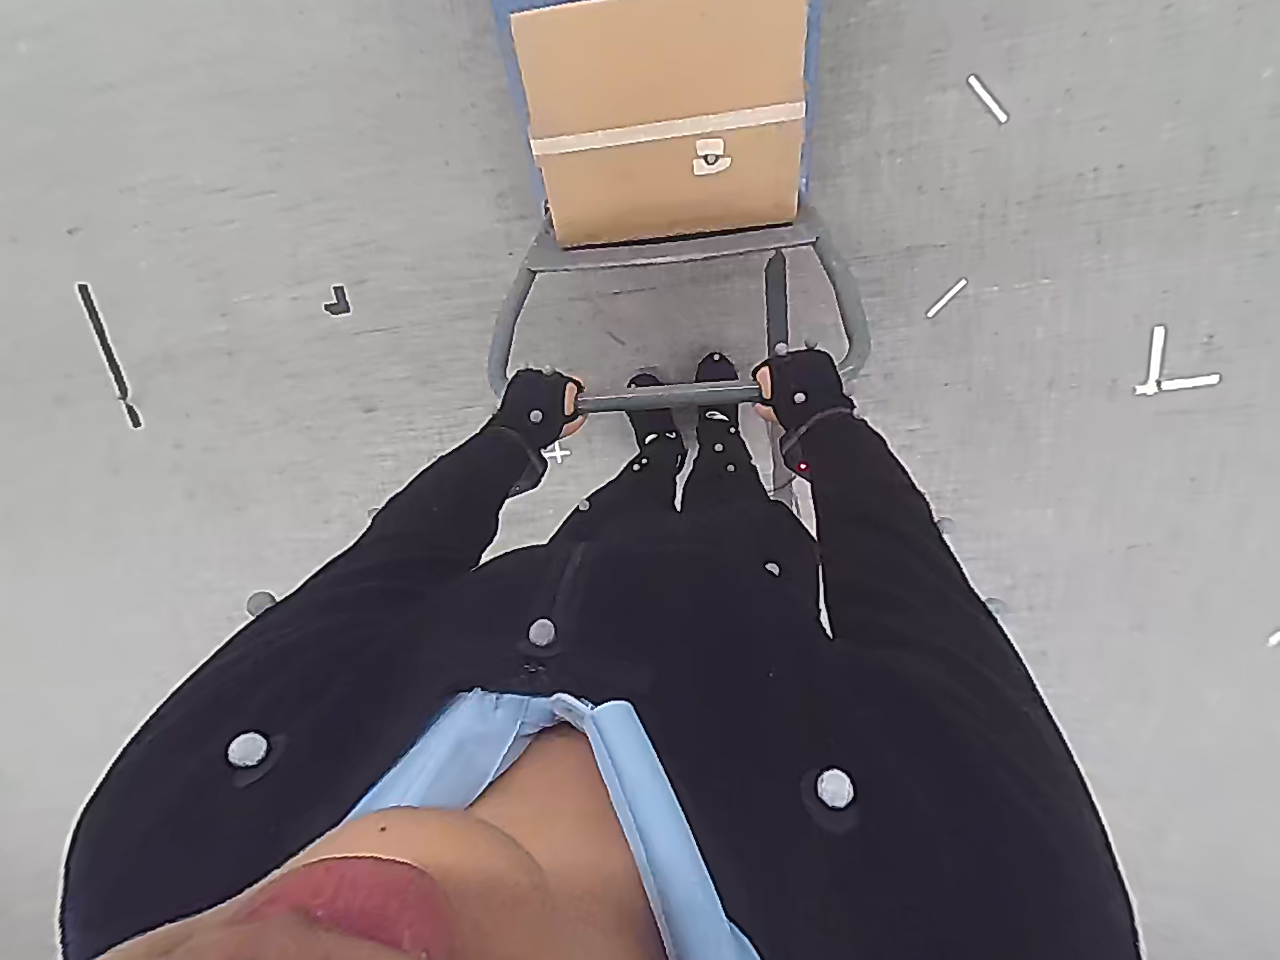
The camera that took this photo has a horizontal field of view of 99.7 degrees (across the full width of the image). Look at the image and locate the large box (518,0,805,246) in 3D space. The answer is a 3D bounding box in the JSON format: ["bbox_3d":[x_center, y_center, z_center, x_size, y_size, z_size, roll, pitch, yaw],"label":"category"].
[{"bbox_3d":[0.047,-0.637,0.942,0.408,0.320,0.320,-4,131,6],"label":"large box"}]
